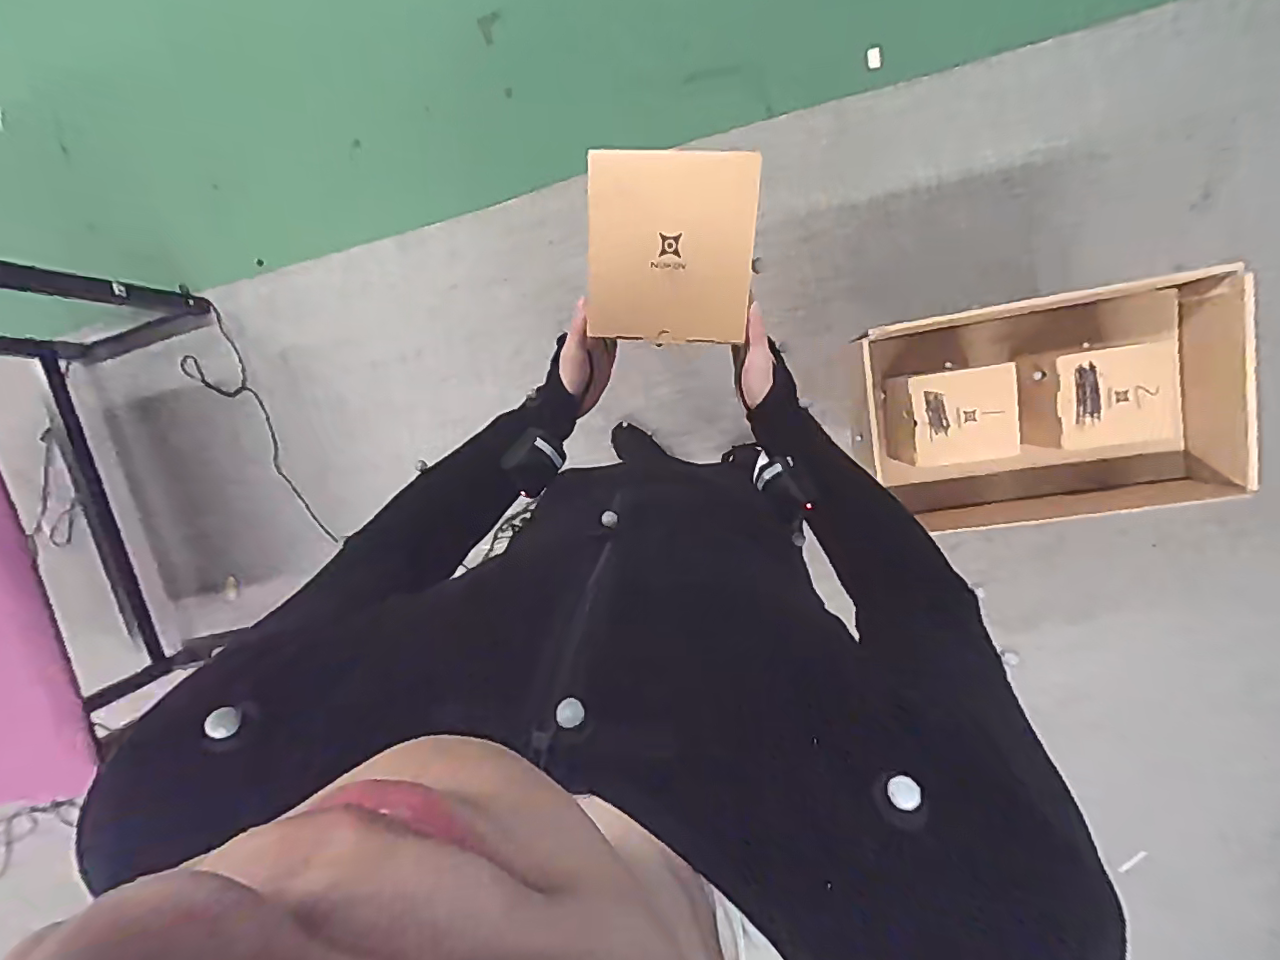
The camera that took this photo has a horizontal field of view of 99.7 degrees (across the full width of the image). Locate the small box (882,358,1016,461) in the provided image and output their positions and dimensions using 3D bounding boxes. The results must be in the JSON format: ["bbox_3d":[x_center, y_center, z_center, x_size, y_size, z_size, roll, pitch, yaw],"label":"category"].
[{"bbox_3d":[0.574,-0.134,1.027,0.179,0.176,0.168,-7,99,8],"label":"small box"}]

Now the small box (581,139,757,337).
[{"bbox_3d":[0.030,-0.259,0.604,0.168,0.176,0.179,3,110,4],"label":"small box"}]
